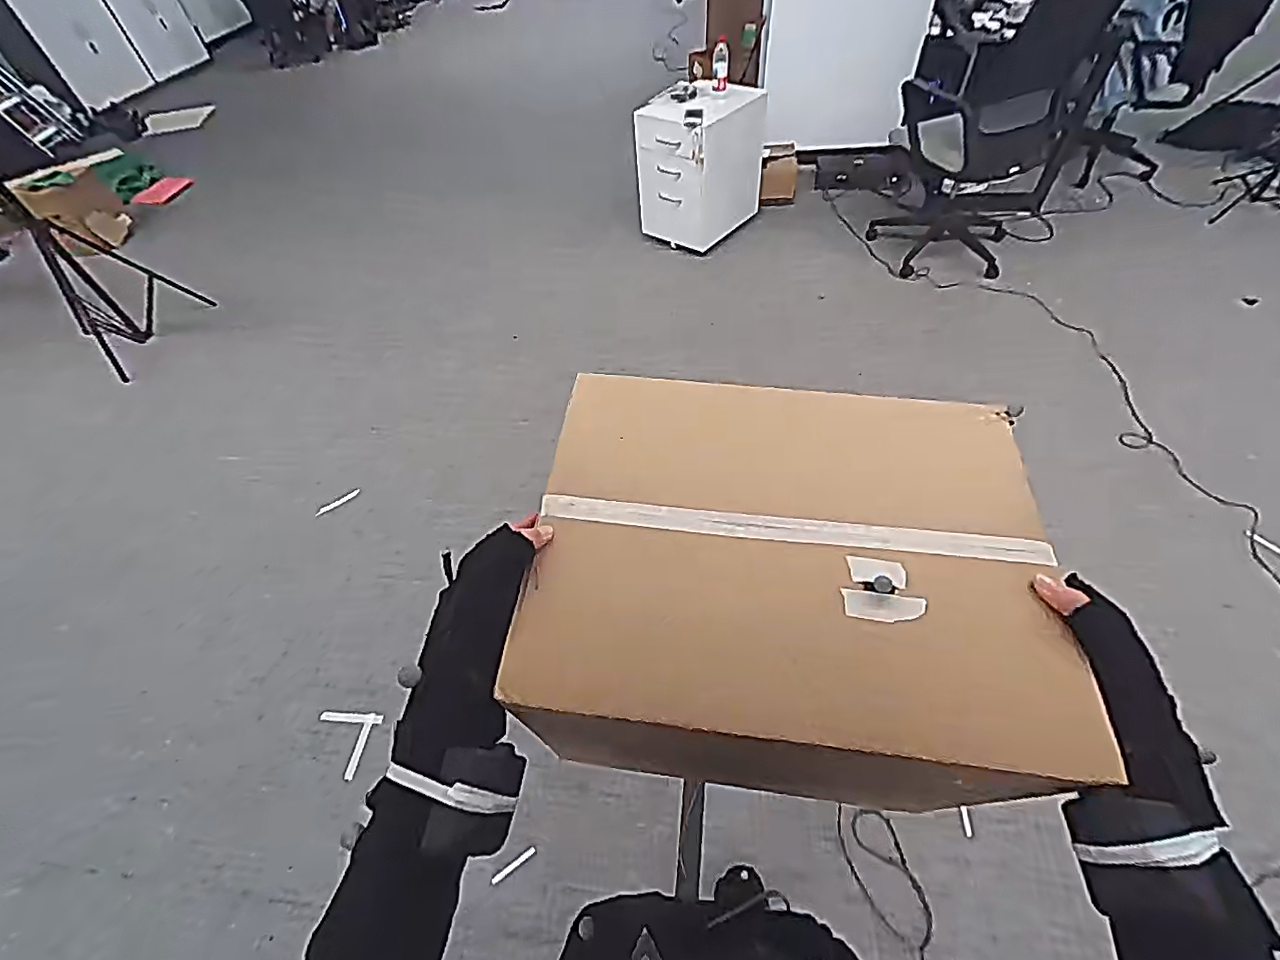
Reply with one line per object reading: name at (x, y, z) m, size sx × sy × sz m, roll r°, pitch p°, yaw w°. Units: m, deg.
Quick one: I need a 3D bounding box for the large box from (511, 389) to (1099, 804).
large box at (0.121, 0.132, 0.570) m, size 0.408 × 0.320 × 0.320 m, roll 6°, pitch 57°, yaw 5°
